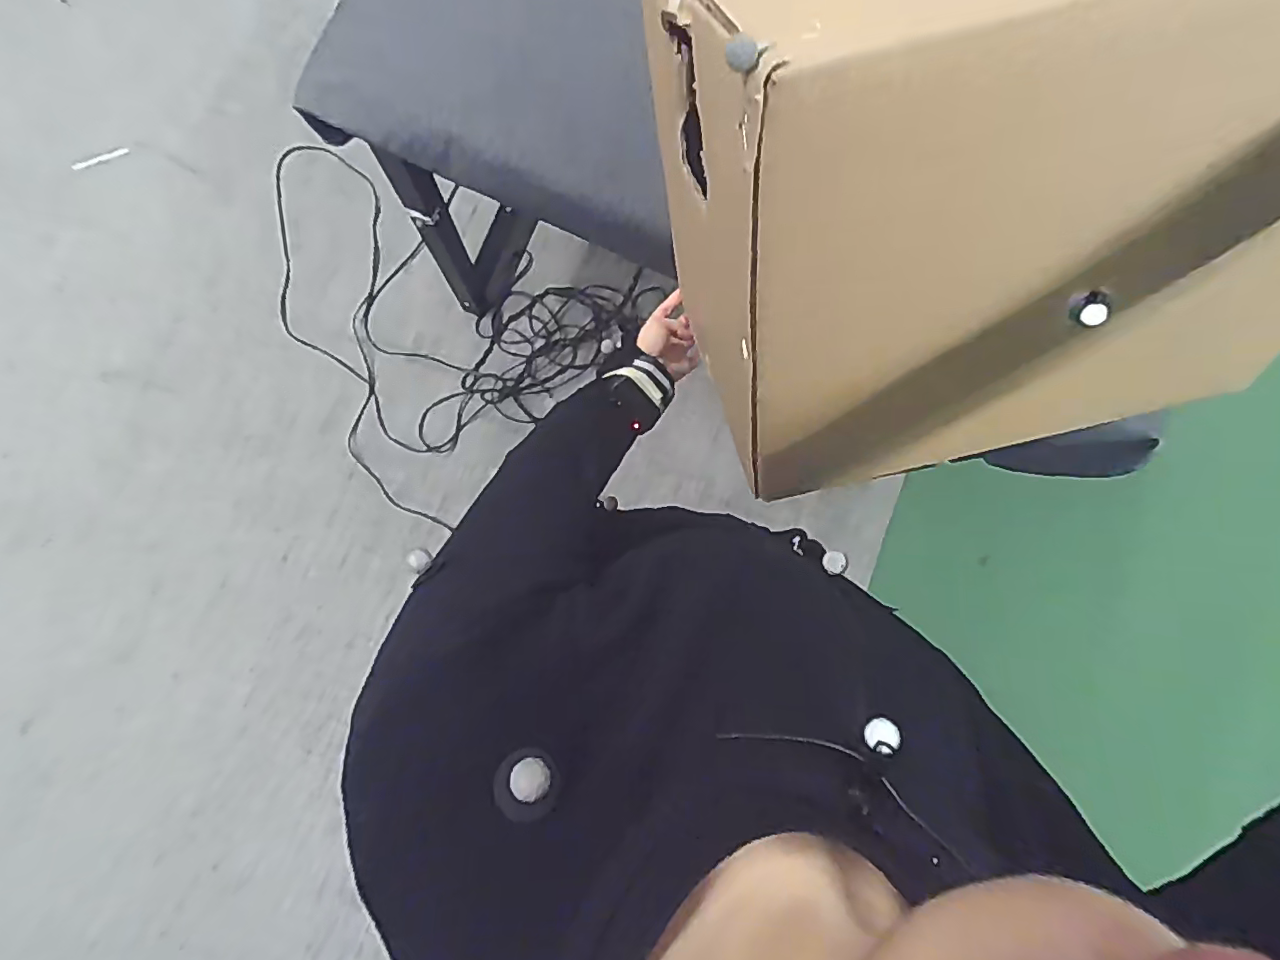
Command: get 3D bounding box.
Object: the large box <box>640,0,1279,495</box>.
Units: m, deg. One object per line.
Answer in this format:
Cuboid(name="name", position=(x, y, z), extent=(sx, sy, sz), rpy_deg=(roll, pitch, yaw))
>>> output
Cuboid(name="large box", position=(0.247, -0.237, 0.427), extent=(0.408, 0.320, 0.320), rpy_deg=(-16, 52, 3))
